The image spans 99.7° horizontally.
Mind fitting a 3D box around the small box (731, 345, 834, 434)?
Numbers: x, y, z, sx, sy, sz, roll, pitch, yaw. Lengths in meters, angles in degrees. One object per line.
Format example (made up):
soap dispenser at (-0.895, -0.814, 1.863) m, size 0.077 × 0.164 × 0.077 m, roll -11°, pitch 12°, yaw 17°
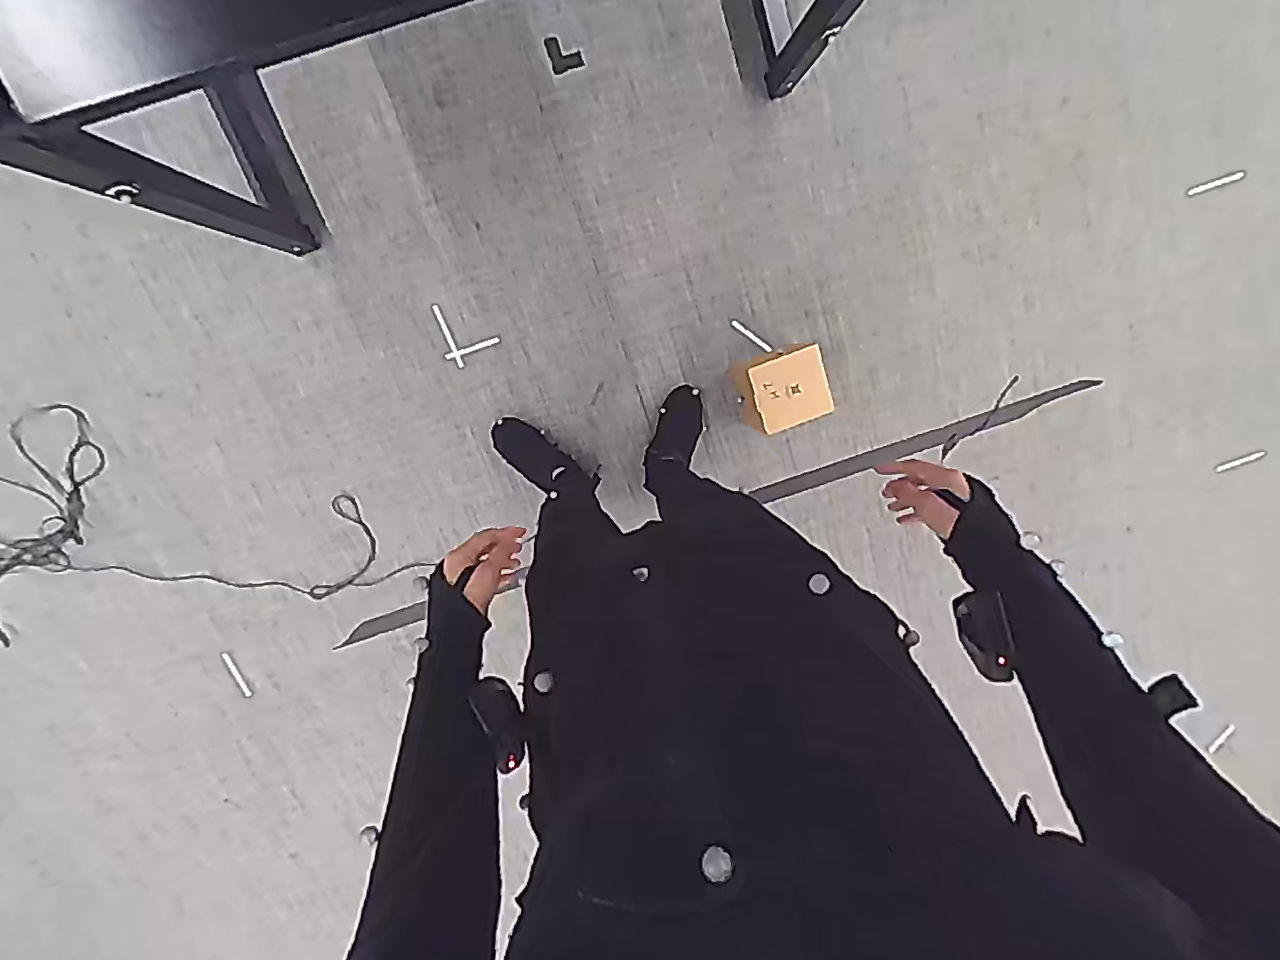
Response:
small box at (0.344, -0.229, 1.326) m, size 0.179 × 0.176 × 0.168 m, roll -20°, pitch 105°, yaw 0°
